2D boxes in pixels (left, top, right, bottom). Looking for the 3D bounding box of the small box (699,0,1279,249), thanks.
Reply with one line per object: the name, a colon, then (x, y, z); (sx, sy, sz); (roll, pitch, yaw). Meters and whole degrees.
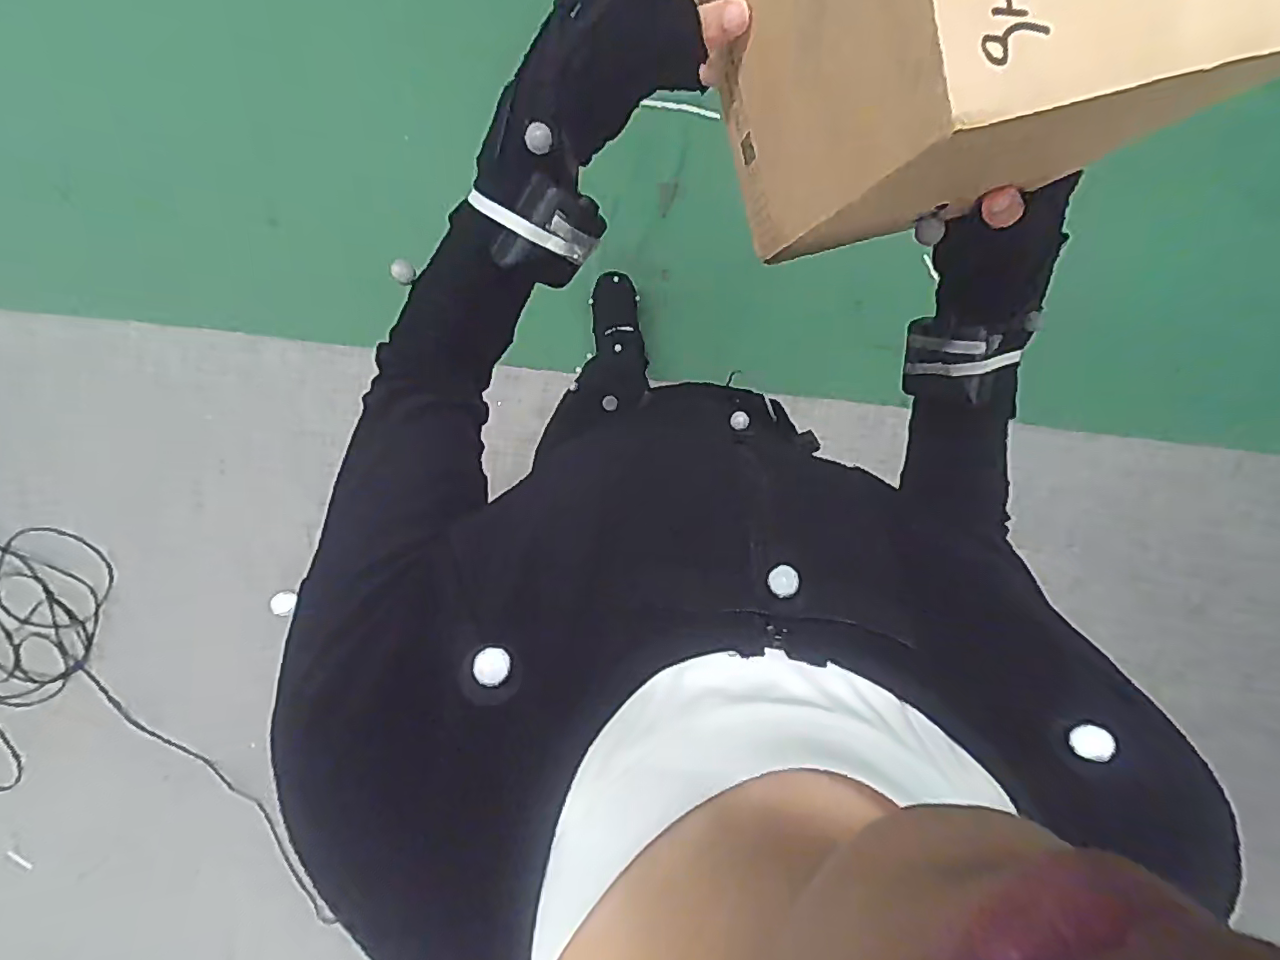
small box: (0.145, -0.227, 0.249); (0.179, 0.176, 0.168); (-17, 100, -8)
